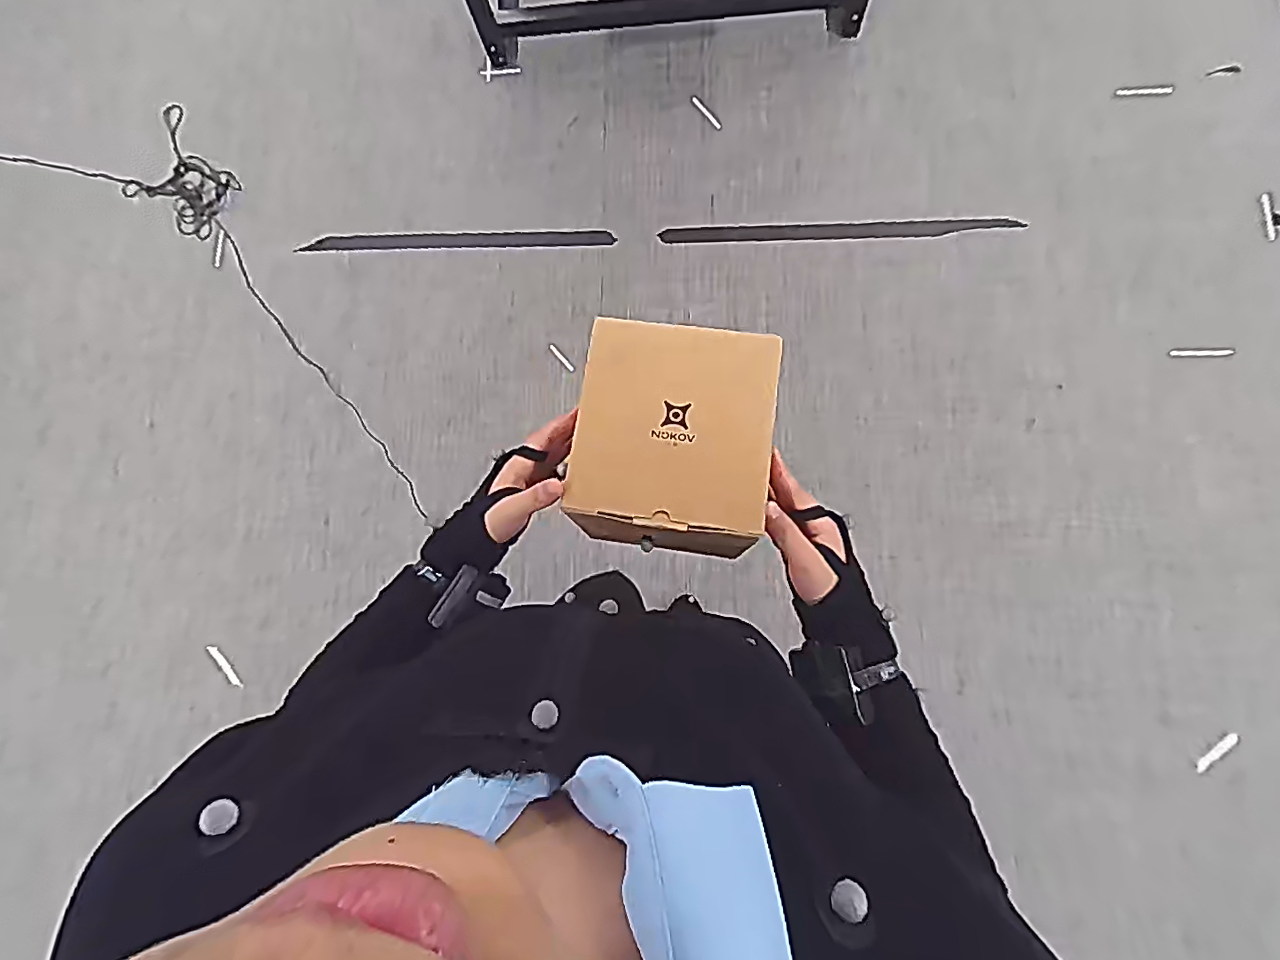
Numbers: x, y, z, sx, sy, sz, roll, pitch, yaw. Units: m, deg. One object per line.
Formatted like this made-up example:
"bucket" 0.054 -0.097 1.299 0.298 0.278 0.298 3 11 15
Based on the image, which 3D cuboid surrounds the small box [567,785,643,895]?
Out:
"small box" -0.081 0.865 1.316 0.168 0.176 0.179 -2 81 5
